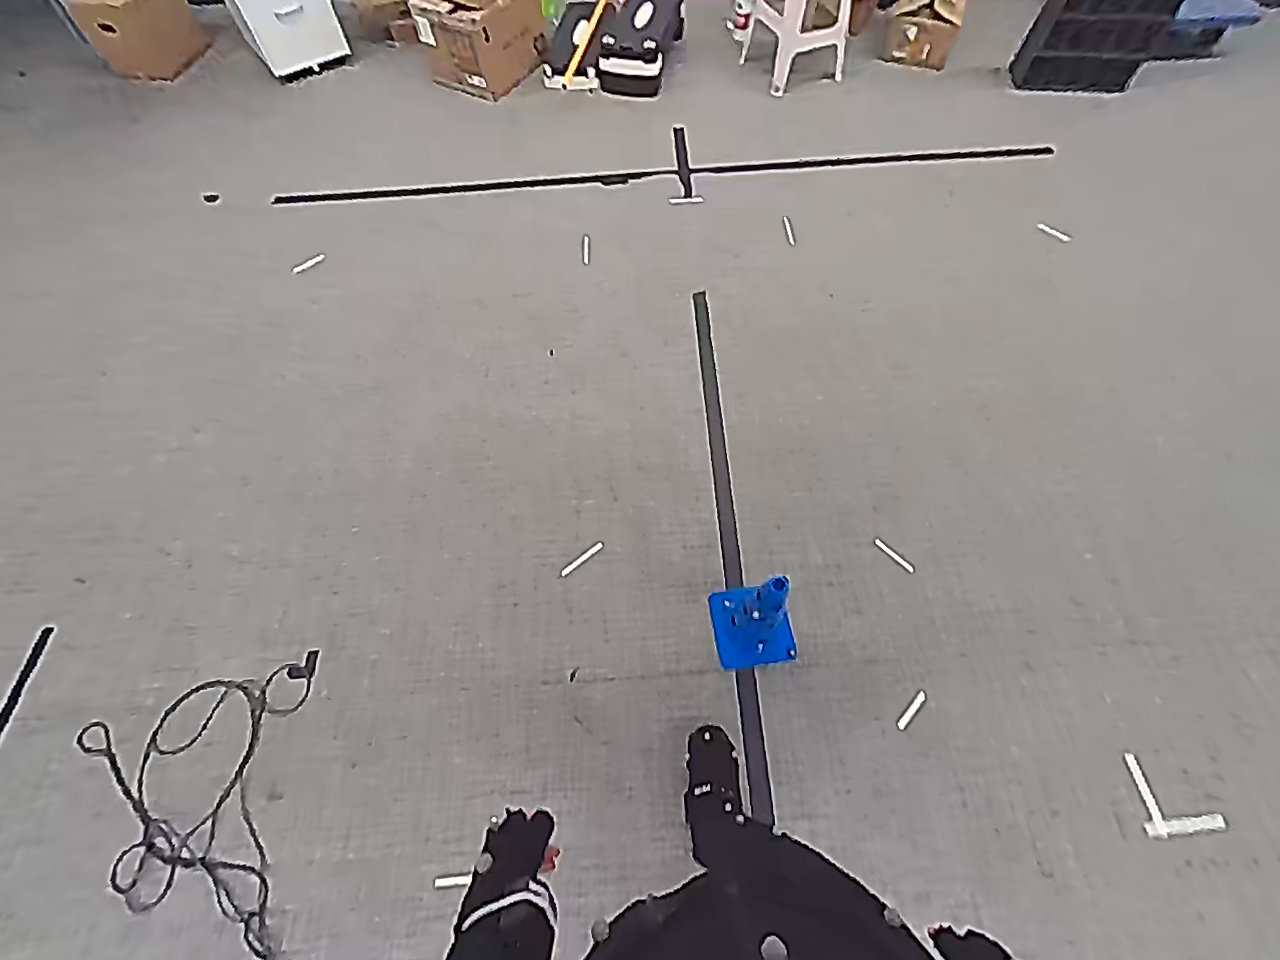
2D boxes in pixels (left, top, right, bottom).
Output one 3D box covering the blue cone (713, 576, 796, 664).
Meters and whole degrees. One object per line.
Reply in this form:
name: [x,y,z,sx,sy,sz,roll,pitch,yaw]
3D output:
blue cone: [0.290,0.299,1.259,0.192,0.380,0.193,-6,62,-3]
